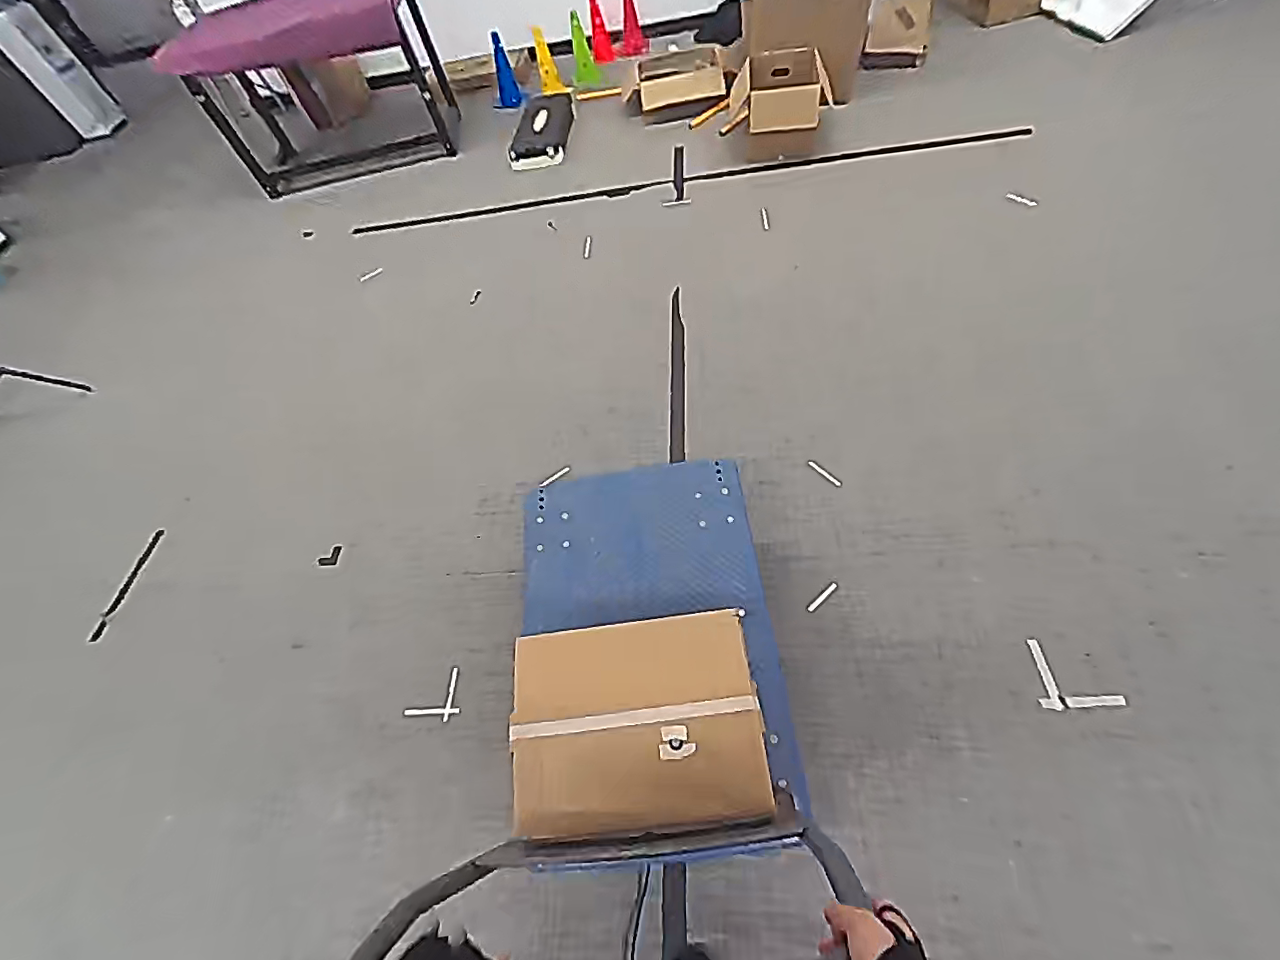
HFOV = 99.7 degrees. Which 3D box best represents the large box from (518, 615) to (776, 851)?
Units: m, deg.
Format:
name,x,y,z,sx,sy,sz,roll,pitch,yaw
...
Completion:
name,x,y,z,sx,sy,sz,roll,pitch,yaw
large box,0.010,0.473,1.019,0.408,0.320,0.320,-9,62,3
